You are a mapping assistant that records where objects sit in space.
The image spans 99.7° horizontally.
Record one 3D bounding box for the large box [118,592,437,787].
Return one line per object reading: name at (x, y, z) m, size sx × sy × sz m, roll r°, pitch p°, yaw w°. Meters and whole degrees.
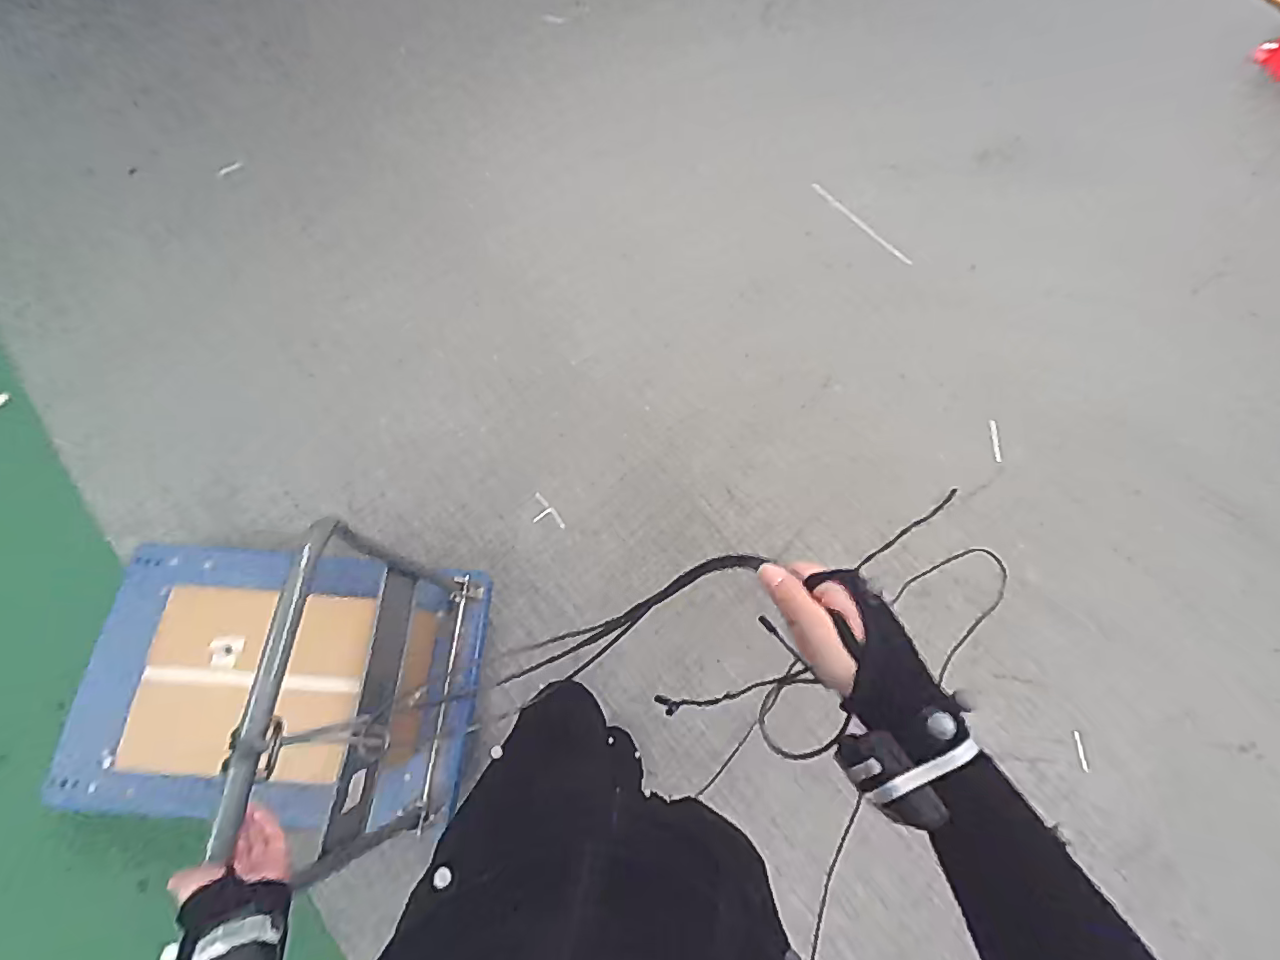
large box at (-0.681, 0.412, 1.103) m, size 0.408 × 0.320 × 0.320 m, roll 4°, pitch 70°, yaw 0°
